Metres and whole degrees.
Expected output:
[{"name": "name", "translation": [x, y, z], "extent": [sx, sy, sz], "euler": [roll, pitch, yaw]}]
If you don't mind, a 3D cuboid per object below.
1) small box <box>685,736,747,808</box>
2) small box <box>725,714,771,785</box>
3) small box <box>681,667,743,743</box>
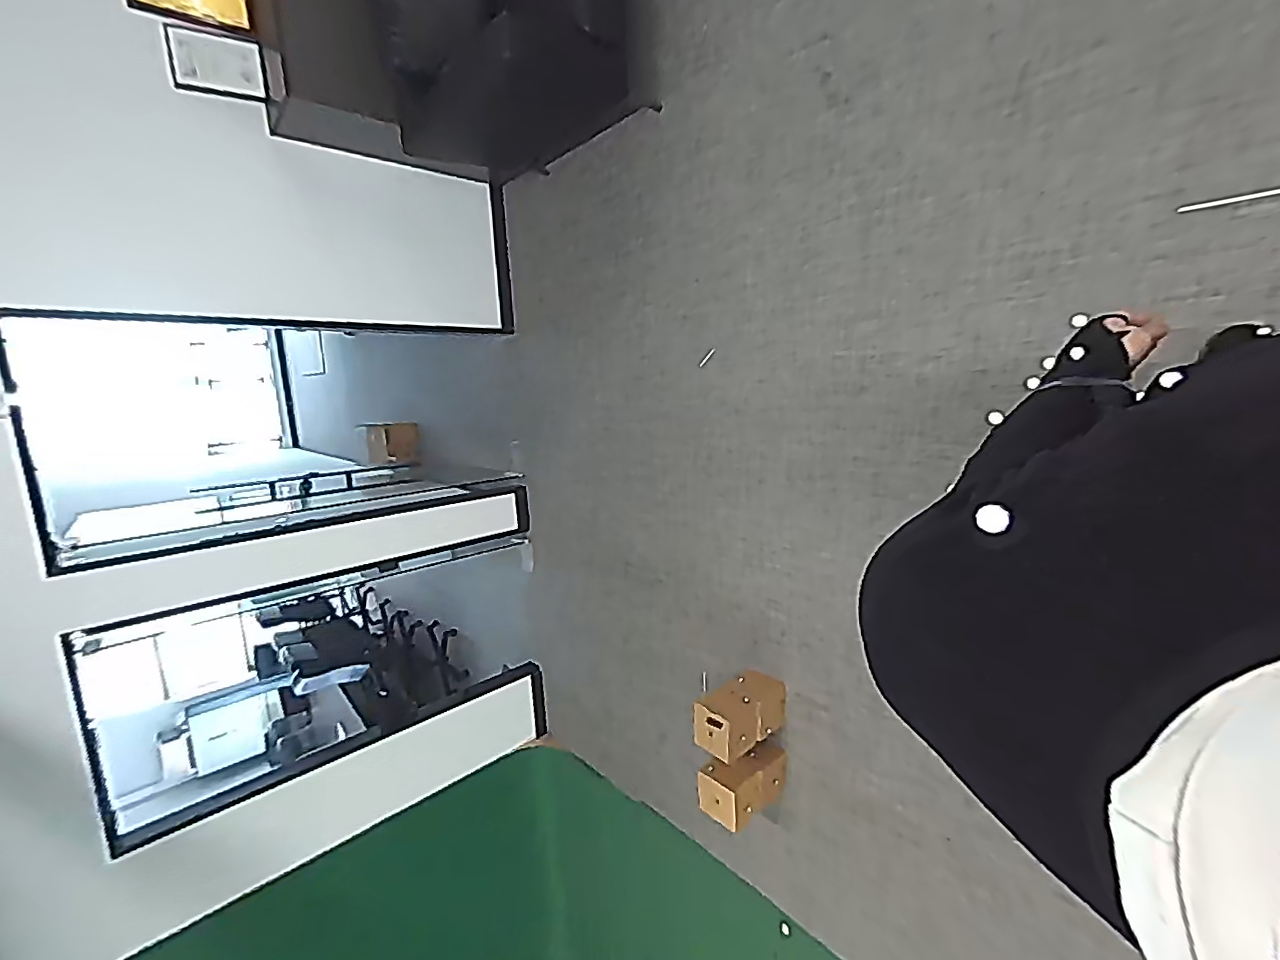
[{"name": "small box", "translation": [0.296, 1.102, 2.077], "extent": [0.179, 0.176, 0.168], "euler": [9, 107, 47]}, {"name": "small box", "translation": [0.414, 1.077, 2.185], "extent": [0.179, 0.176, 0.168], "euler": [13, 108, 45]}, {"name": "small box", "translation": [0.274, 0.836, 2.033], "extent": [0.168, 0.176, 0.179], "euler": [14, 111, 46]}]
